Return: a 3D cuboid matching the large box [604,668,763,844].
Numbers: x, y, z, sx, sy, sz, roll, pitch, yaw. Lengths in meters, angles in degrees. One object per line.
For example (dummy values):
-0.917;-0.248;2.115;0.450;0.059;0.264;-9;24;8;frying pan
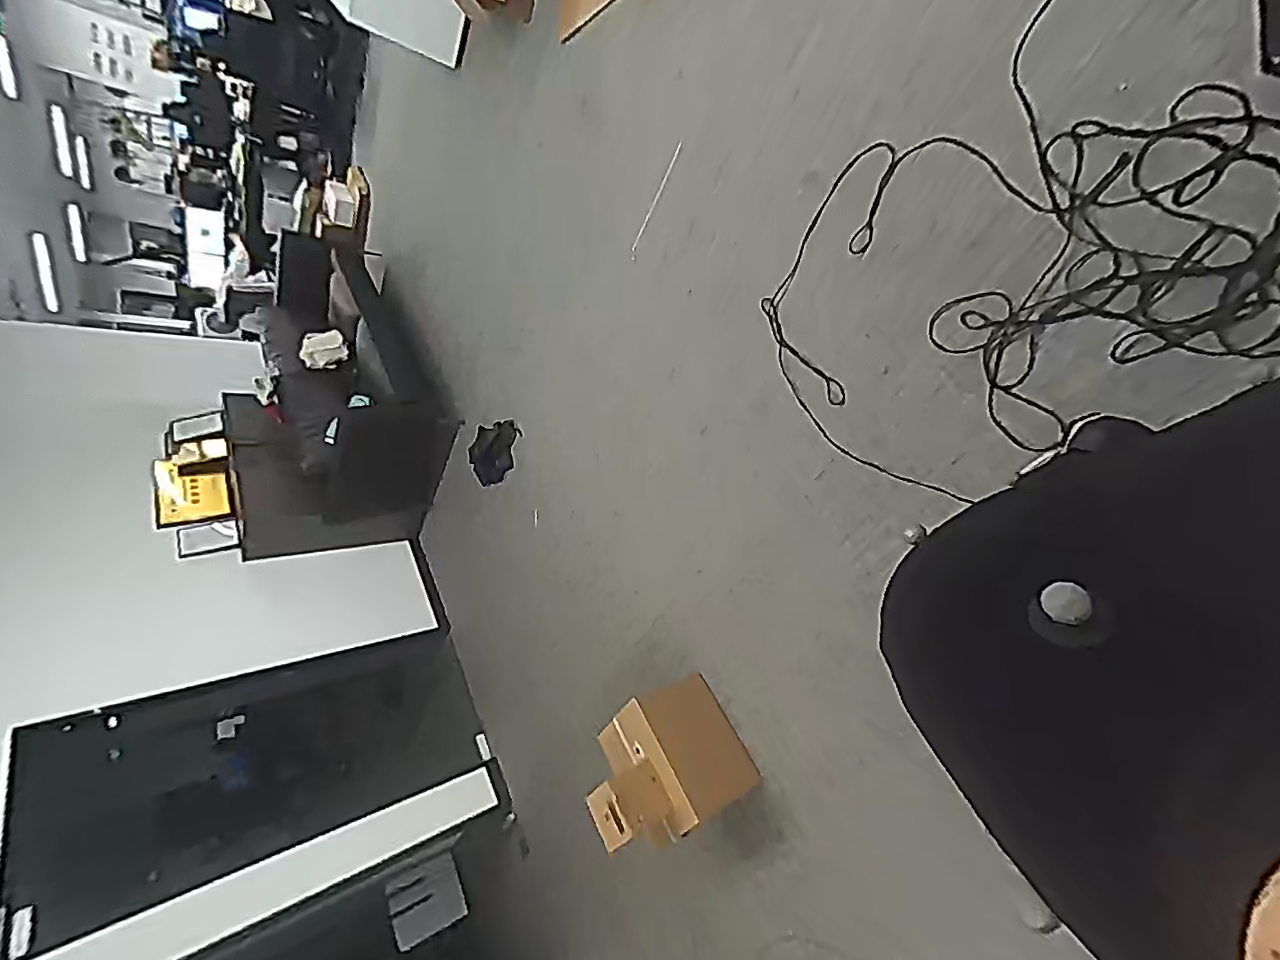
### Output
0.140;0.933;1.865;0.408;0.320;0.320;57;131;31;large box
